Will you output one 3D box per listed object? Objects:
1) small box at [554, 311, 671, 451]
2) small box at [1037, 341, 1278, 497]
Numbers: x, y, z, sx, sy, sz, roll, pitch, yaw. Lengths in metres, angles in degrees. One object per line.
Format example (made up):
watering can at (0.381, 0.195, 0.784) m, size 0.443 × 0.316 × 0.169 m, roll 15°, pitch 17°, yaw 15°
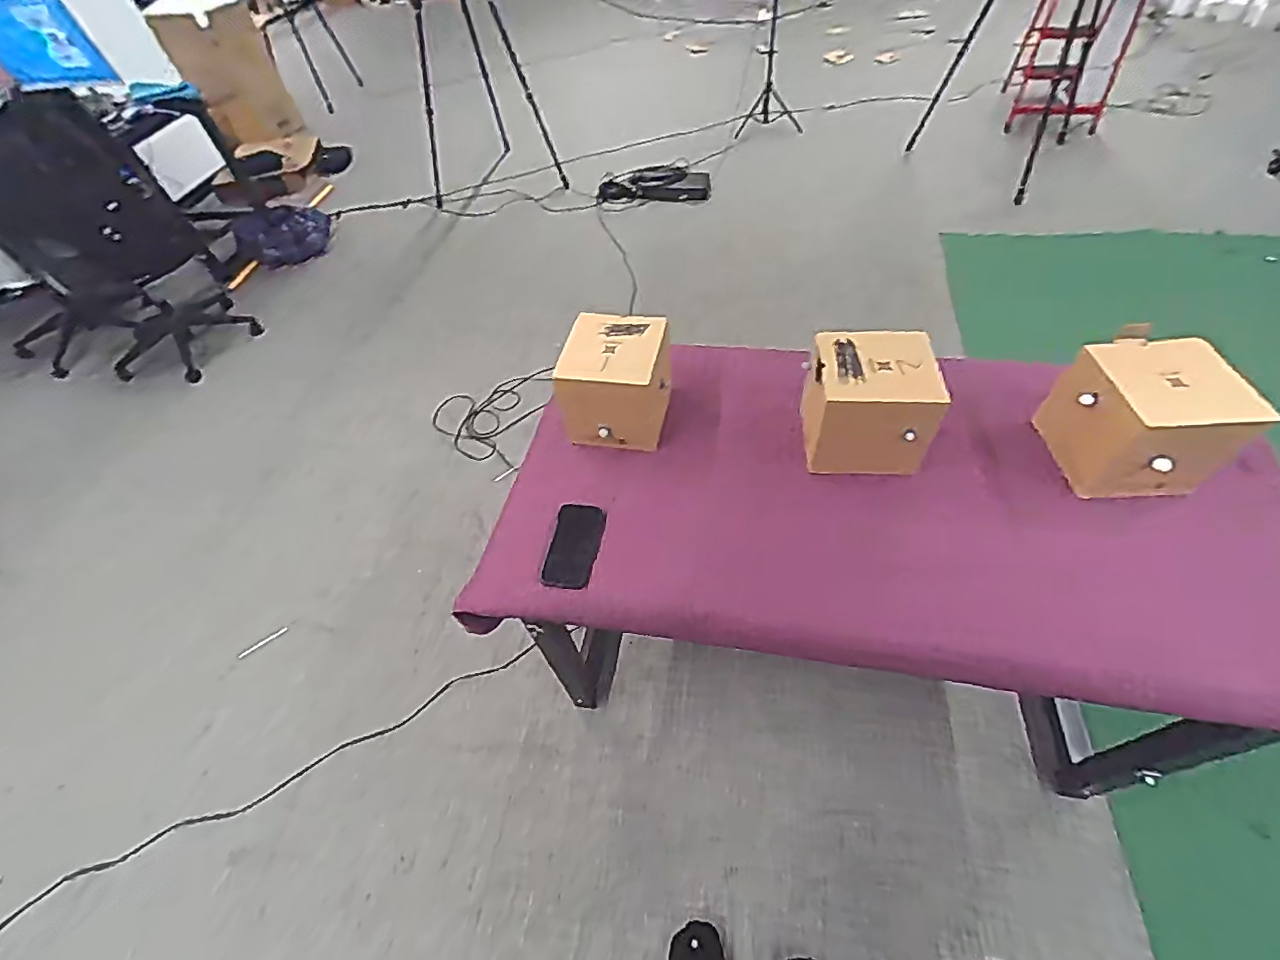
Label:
small box at (-0.038, -0.178, 0.975) m, size 0.168 × 0.176 × 0.179 m, roll 7°, pitch 55°, yaw 12°
small box at (0.755, -0.084, 0.818) m, size 0.168 × 0.176 × 0.179 m, roll -2°, pitch 51°, yaw 5°
